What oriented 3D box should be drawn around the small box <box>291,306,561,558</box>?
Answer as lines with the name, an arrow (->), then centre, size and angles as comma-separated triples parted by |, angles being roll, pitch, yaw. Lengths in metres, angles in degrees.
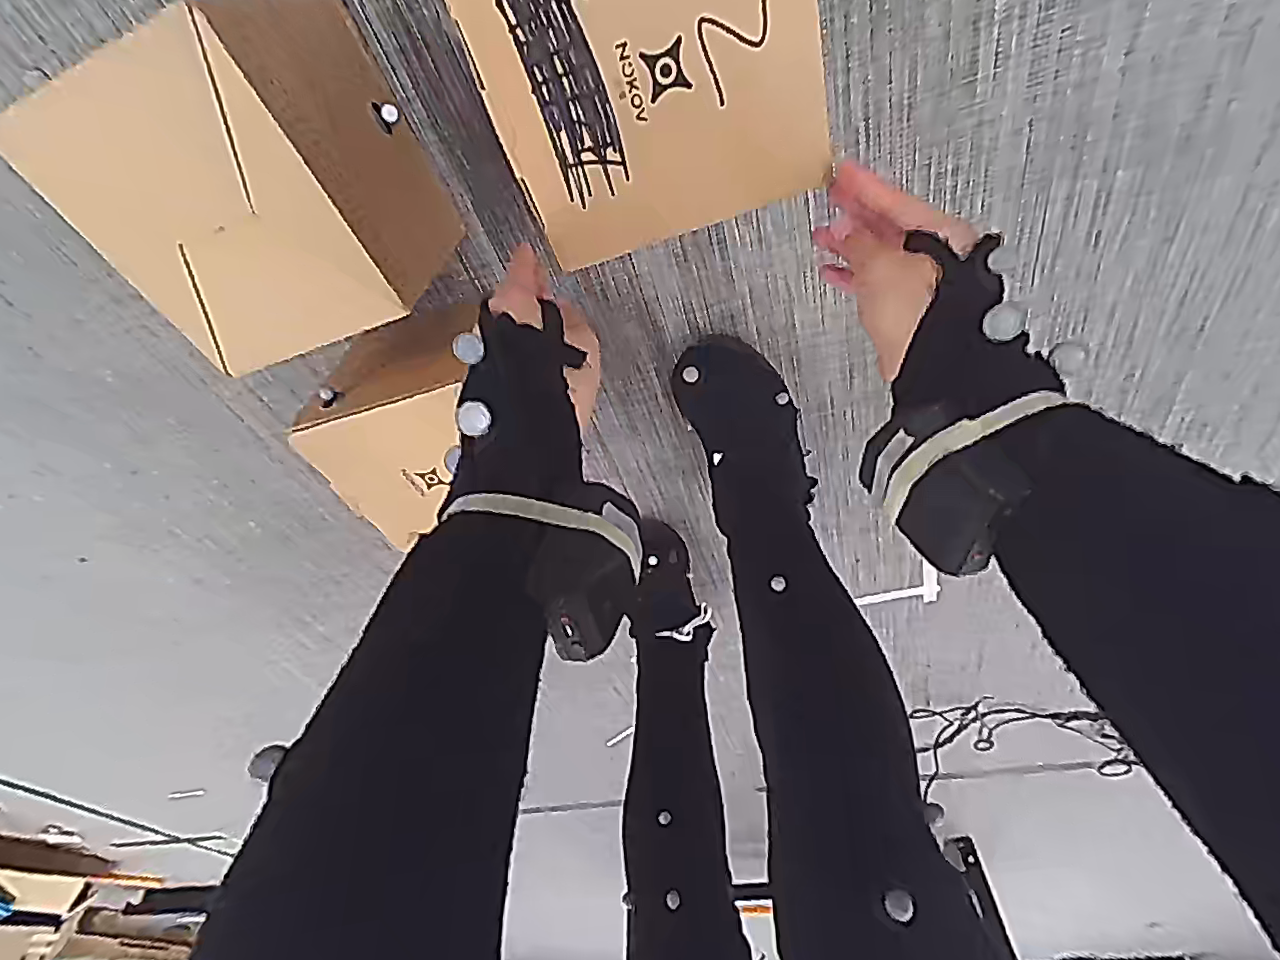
small box -> -0.189, -0.050, 0.544 | 0.179, 0.176, 0.168 | -13, 131, 13
